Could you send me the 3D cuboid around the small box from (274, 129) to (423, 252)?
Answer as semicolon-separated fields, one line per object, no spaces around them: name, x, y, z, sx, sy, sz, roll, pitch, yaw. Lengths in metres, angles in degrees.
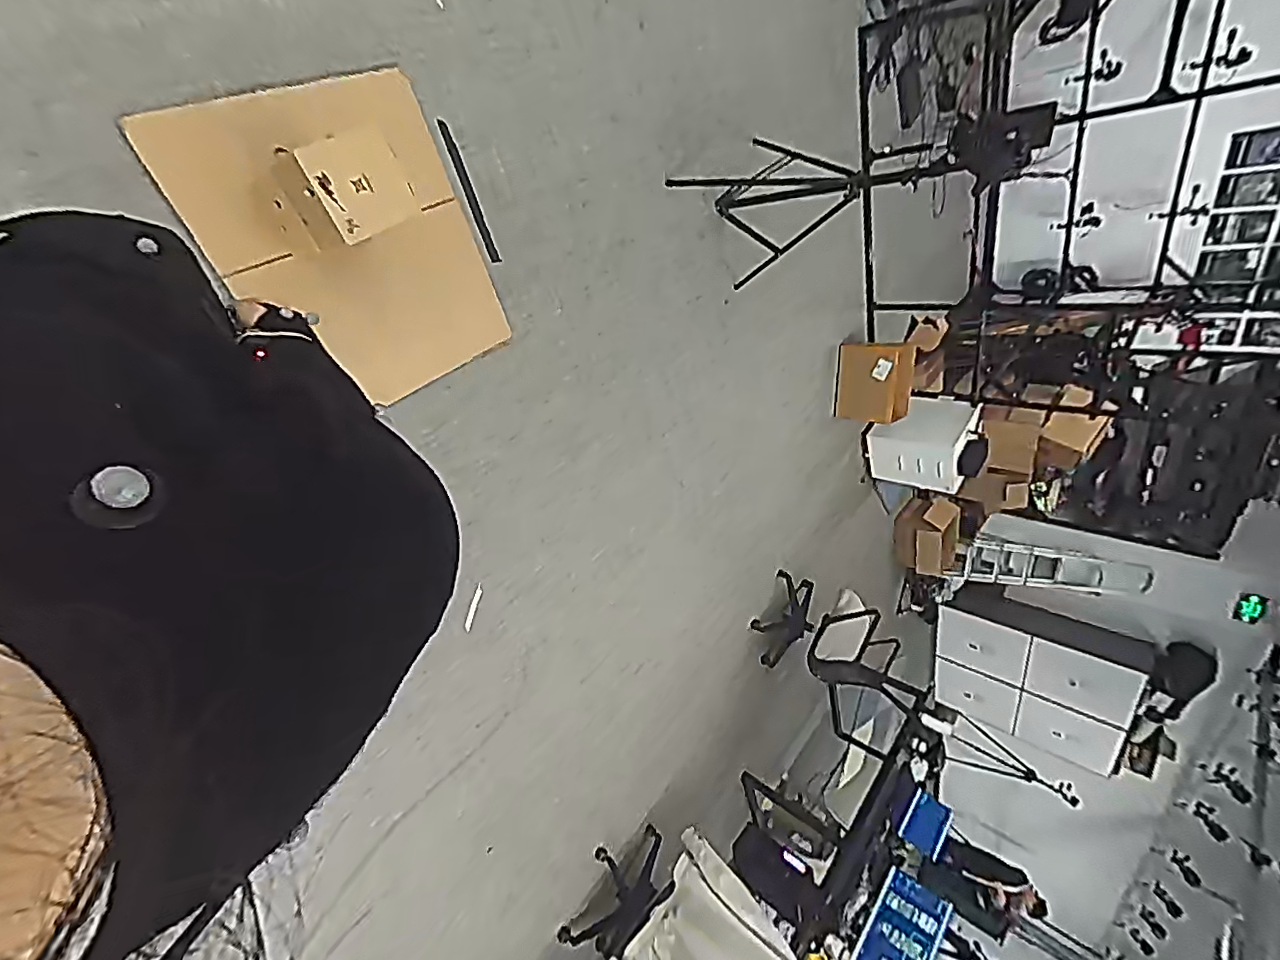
small box;-0.580;-0.570;1.076;0.179;0.176;0.168;-43;130;-30

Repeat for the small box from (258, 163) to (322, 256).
small box;-0.698;-0.604;1.185;0.179;0.176;0.168;-42;129;-30
